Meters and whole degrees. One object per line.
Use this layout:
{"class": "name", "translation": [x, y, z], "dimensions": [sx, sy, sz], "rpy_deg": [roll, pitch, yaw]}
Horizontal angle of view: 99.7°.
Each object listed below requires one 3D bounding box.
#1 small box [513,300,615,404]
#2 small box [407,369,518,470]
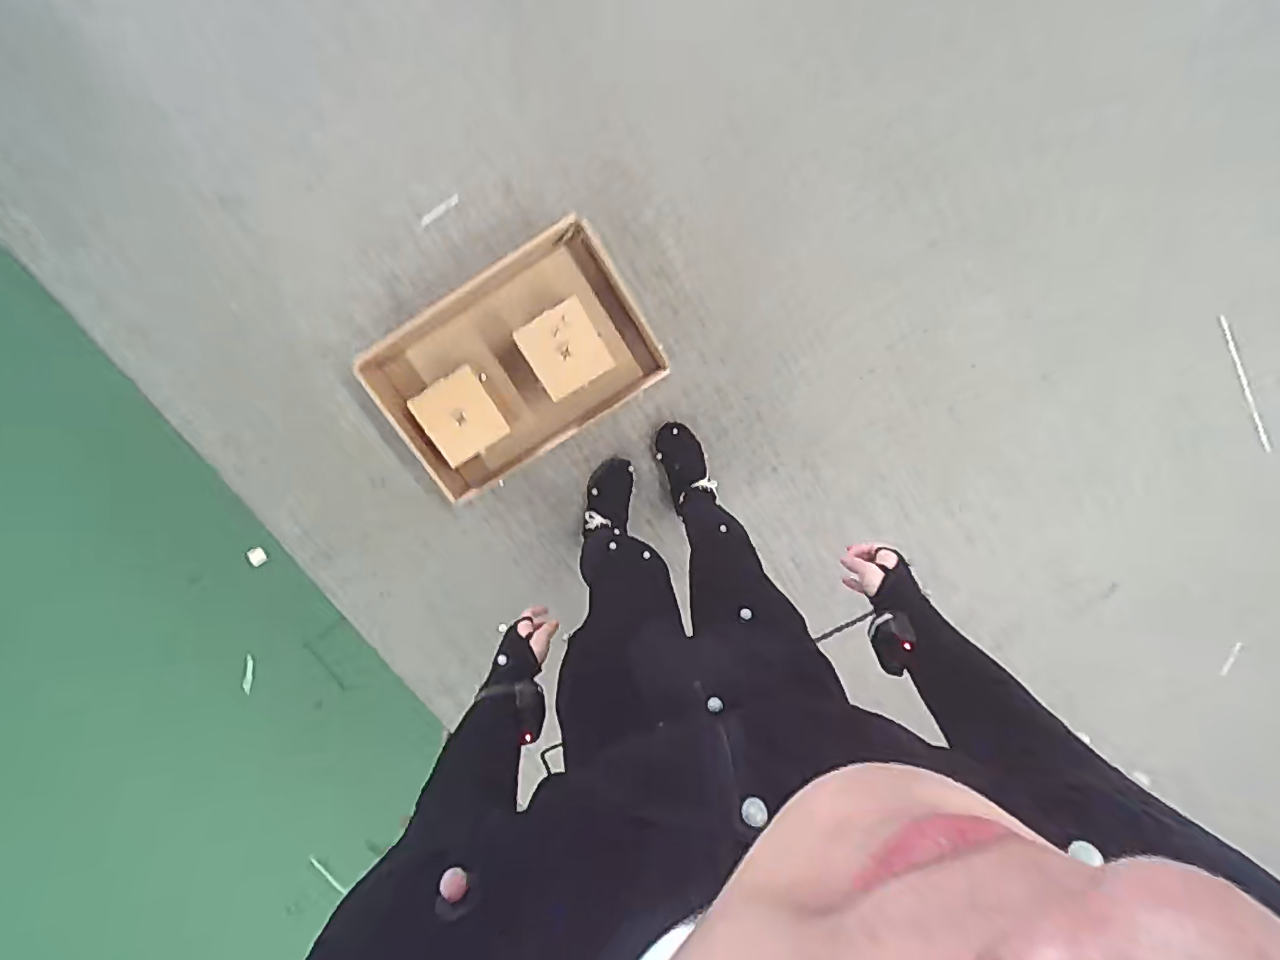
{"class": "small box", "translation": [-0.171, -0.301, 1.269], "dimensions": [0.168, 0.176, 0.179], "rpy_deg": [-30, 104, 4]}
{"class": "small box", "translation": [-0.410, -0.152, 1.288], "dimensions": [0.168, 0.176, 0.179], "rpy_deg": [-32, 103, 3]}
